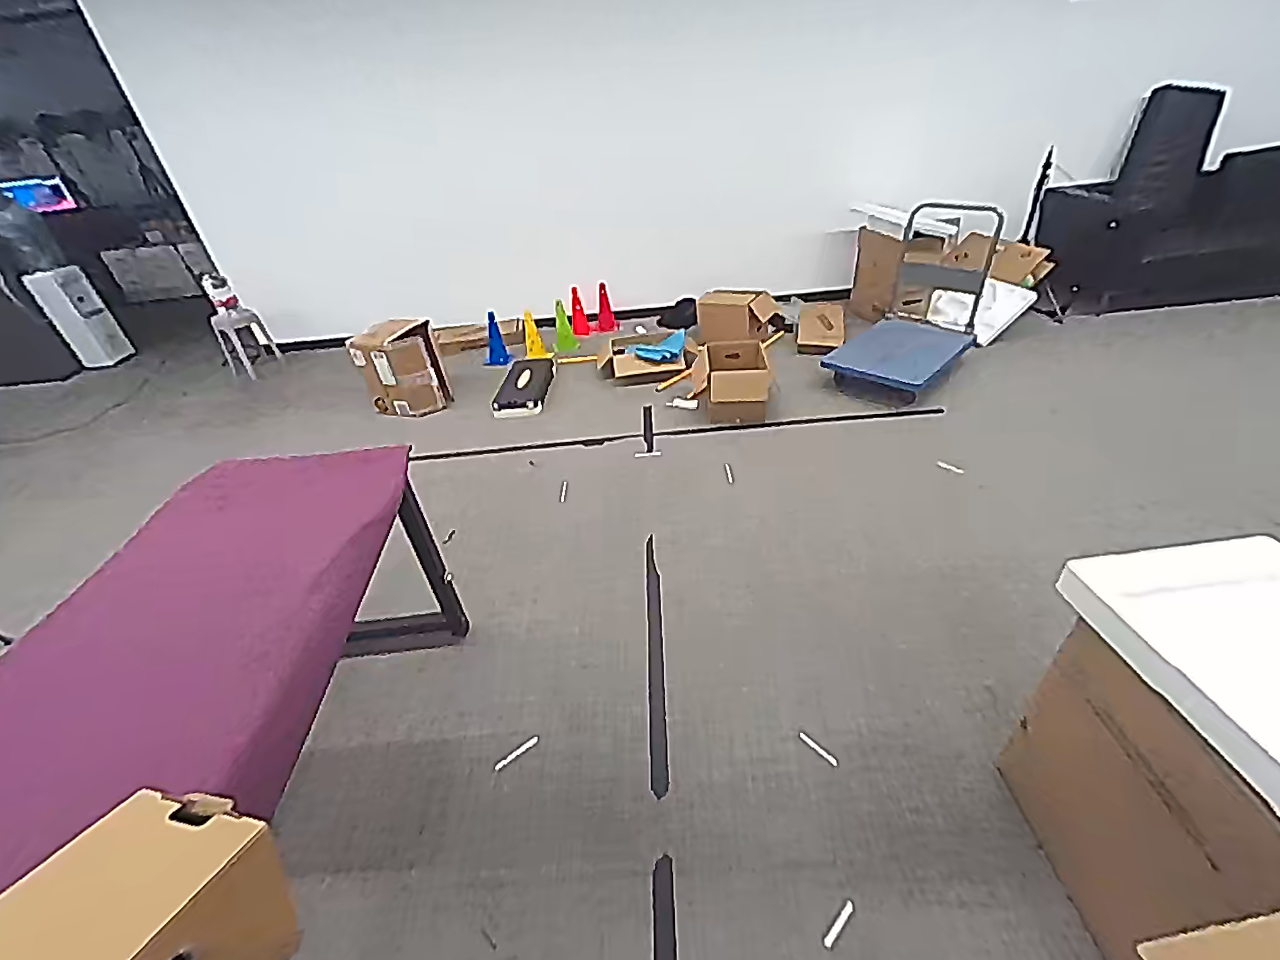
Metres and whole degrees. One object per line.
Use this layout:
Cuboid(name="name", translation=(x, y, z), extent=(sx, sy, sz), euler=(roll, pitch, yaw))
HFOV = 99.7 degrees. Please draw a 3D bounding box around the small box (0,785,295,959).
Cuboid(name="small box", translation=(-0.452, 0.425, 0.488), extent=(0.168, 0.176, 0.179), euler=(5, 17, 14))
